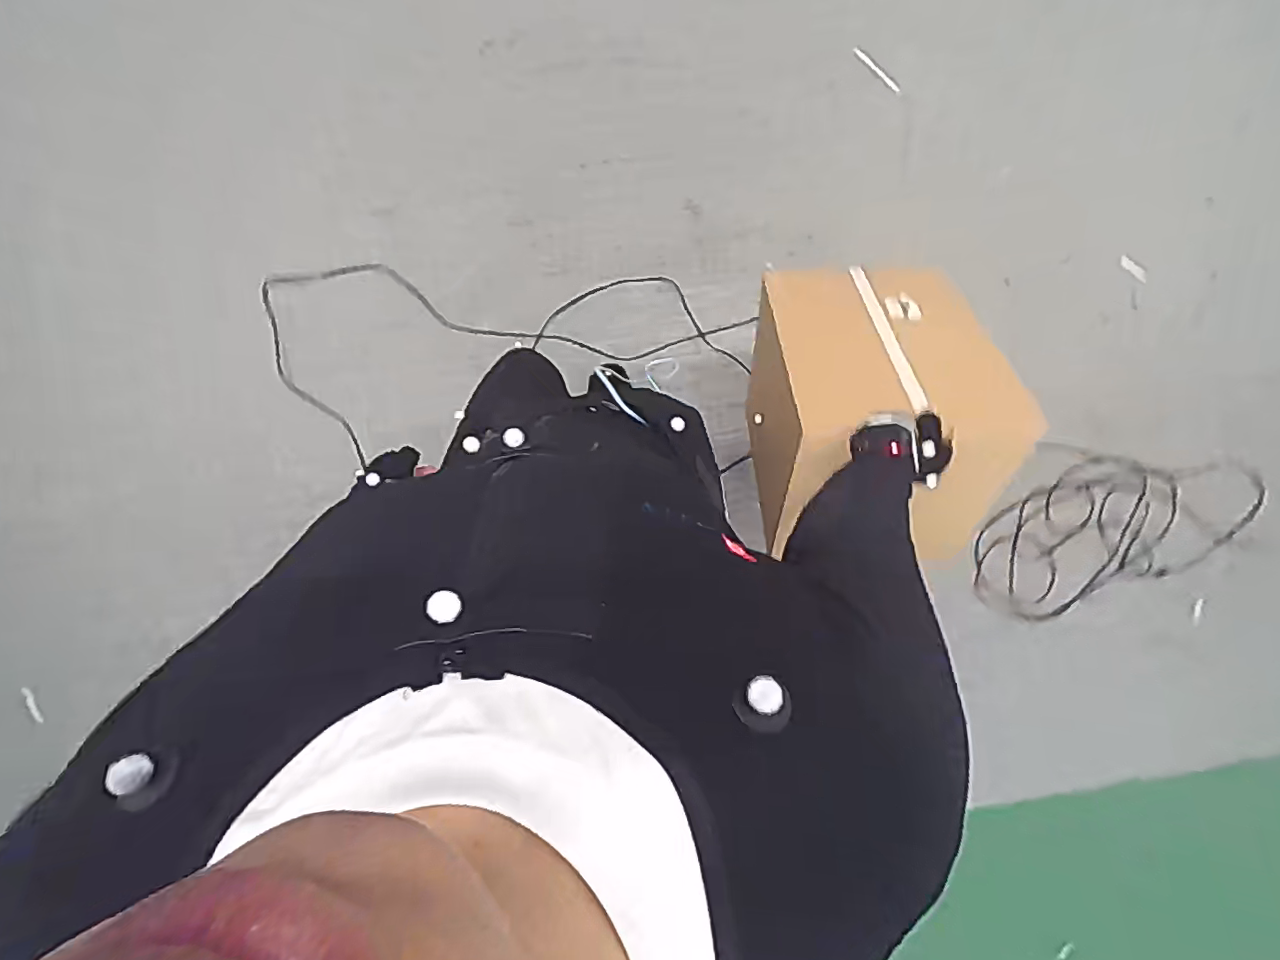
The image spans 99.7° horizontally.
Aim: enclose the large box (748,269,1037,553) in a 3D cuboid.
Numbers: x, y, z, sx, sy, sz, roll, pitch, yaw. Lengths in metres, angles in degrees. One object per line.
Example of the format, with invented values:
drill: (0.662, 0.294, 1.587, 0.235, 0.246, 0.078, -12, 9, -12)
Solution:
large box: (0.377, -0.122, 0.947, 0.320, 0.408, 0.320, -1, 138, 2)
